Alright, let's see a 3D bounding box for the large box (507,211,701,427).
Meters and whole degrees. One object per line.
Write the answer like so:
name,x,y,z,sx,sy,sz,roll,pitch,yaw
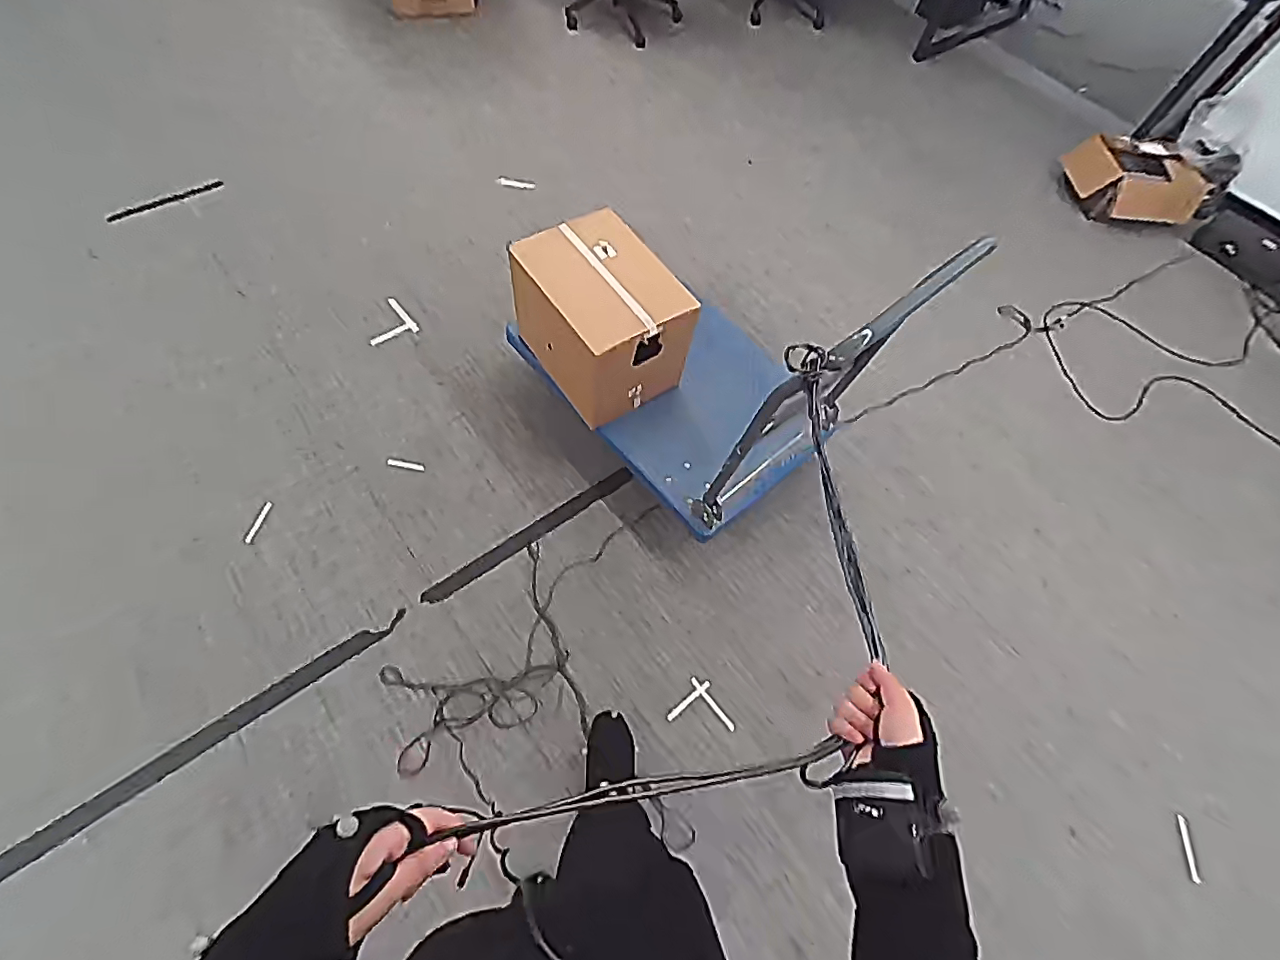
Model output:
large box,-0.102,-0.422,1.441,0.320,0.320,0.408,-30,70,-21
